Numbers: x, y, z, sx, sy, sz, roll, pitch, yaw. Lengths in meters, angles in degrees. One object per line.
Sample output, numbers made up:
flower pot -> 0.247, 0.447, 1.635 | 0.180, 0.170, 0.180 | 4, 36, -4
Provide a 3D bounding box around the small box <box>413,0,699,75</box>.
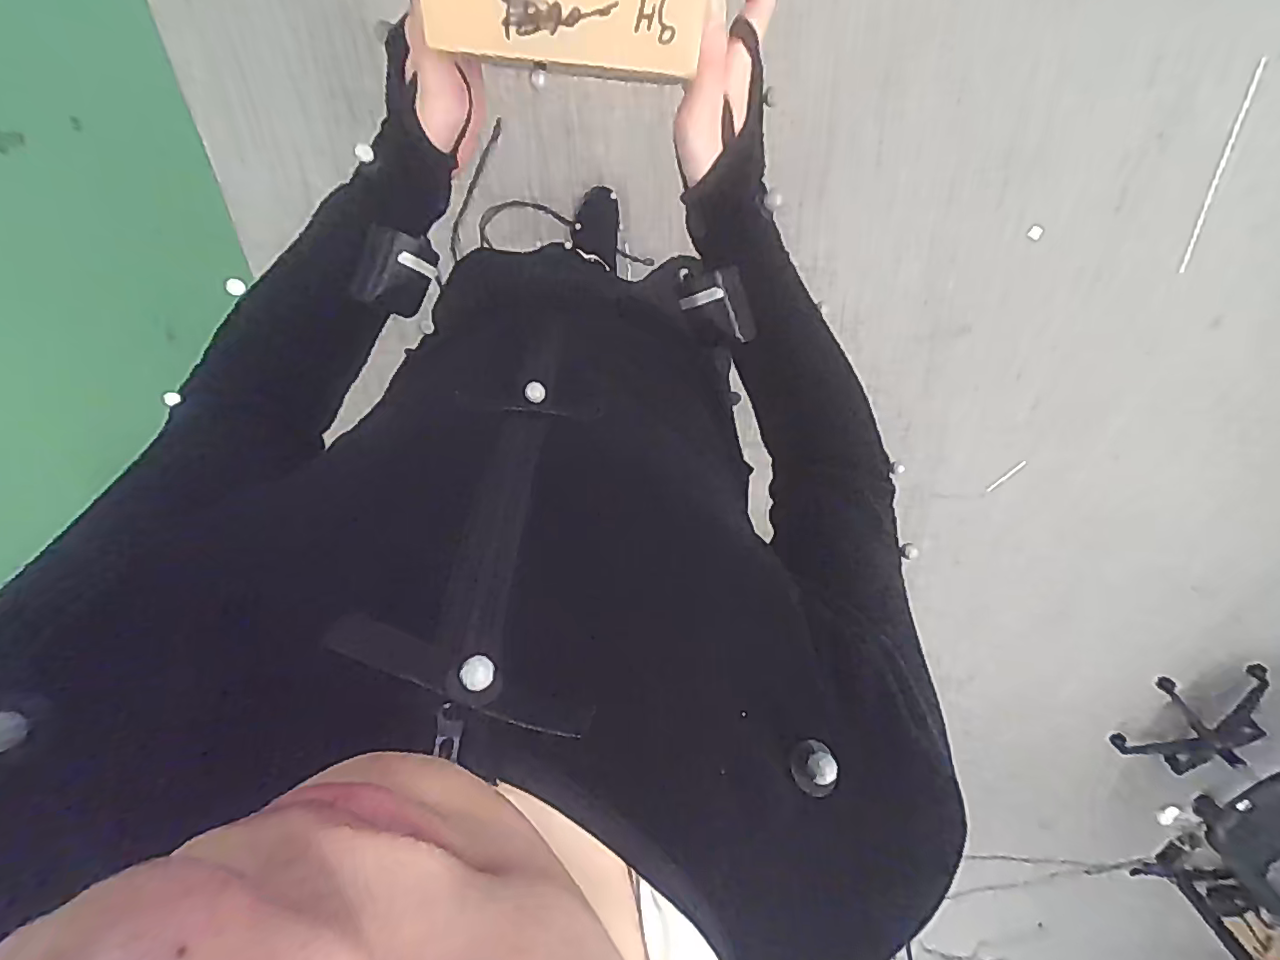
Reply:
small box -> -0.044, -0.374, 0.338 | 0.168, 0.176, 0.179 | 3, 125, -4
